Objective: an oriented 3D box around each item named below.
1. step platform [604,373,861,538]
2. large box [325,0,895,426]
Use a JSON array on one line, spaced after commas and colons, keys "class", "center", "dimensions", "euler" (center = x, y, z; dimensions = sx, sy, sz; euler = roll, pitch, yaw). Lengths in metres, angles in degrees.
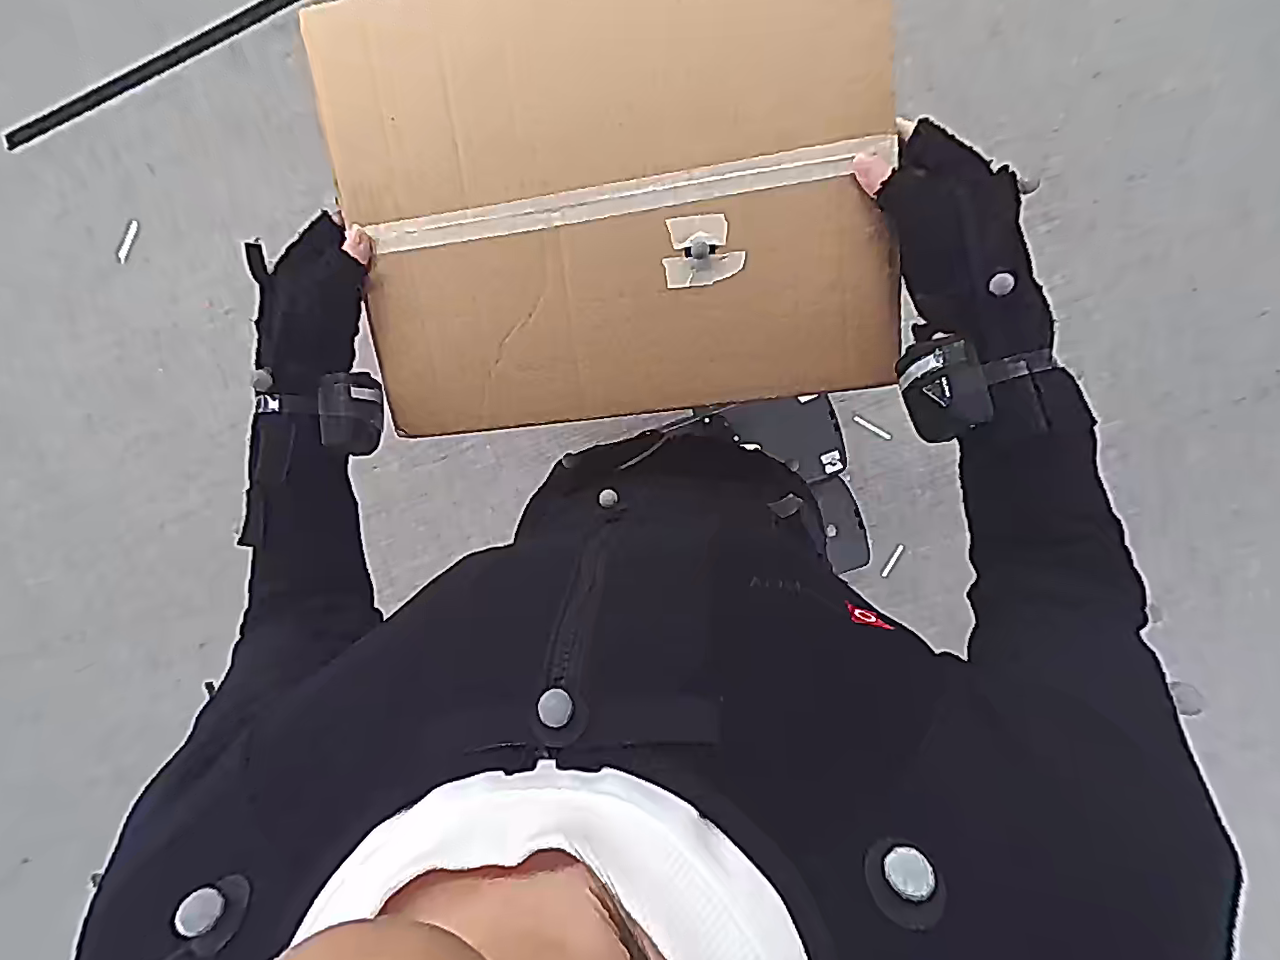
[{"class": "step platform", "center": [0.244, -0.078, 1.509], "dimensions": [0.684, 0.204, 0.286], "euler": [-21, 94, 6]}, {"class": "large box", "center": [-0.006, -0.250, 0.549], "dimensions": [0.408, 0.320, 0.320], "euler": [-6, 105, 8]}]
